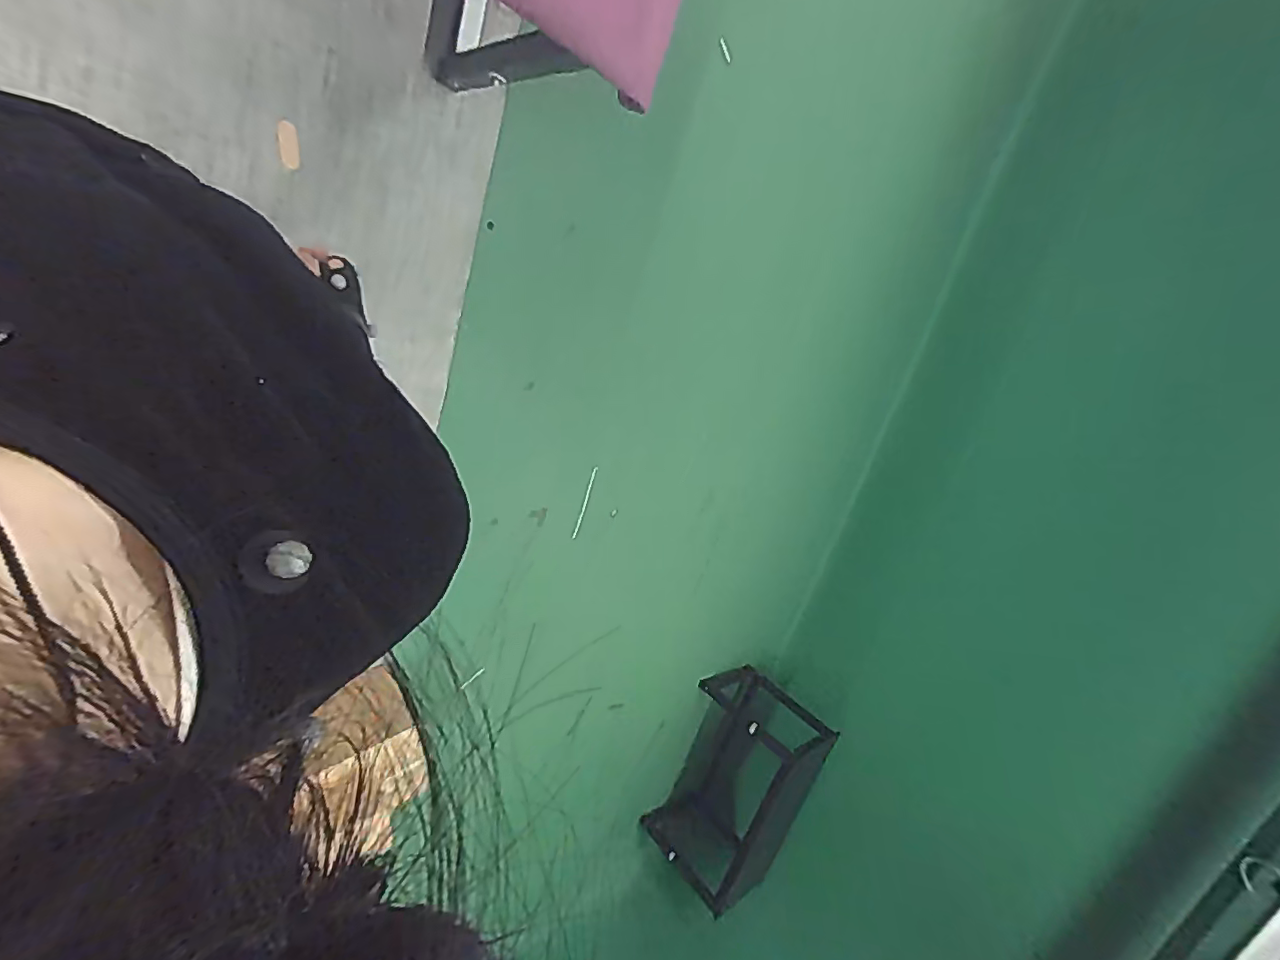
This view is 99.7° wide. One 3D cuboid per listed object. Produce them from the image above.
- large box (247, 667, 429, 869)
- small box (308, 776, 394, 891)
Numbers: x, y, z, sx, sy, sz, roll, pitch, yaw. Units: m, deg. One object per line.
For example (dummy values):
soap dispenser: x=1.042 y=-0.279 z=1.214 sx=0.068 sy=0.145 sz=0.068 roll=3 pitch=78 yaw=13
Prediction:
large box: x=-0.922 y=0.863 z=1.676 sx=0.408 sy=0.320 sz=0.320 roll=-16 pitch=124 yaw=-40
small box: x=-0.793 y=0.954 z=1.483 sx=0.168 sy=0.176 sz=0.179 roll=-14 pitch=121 yaw=-39
